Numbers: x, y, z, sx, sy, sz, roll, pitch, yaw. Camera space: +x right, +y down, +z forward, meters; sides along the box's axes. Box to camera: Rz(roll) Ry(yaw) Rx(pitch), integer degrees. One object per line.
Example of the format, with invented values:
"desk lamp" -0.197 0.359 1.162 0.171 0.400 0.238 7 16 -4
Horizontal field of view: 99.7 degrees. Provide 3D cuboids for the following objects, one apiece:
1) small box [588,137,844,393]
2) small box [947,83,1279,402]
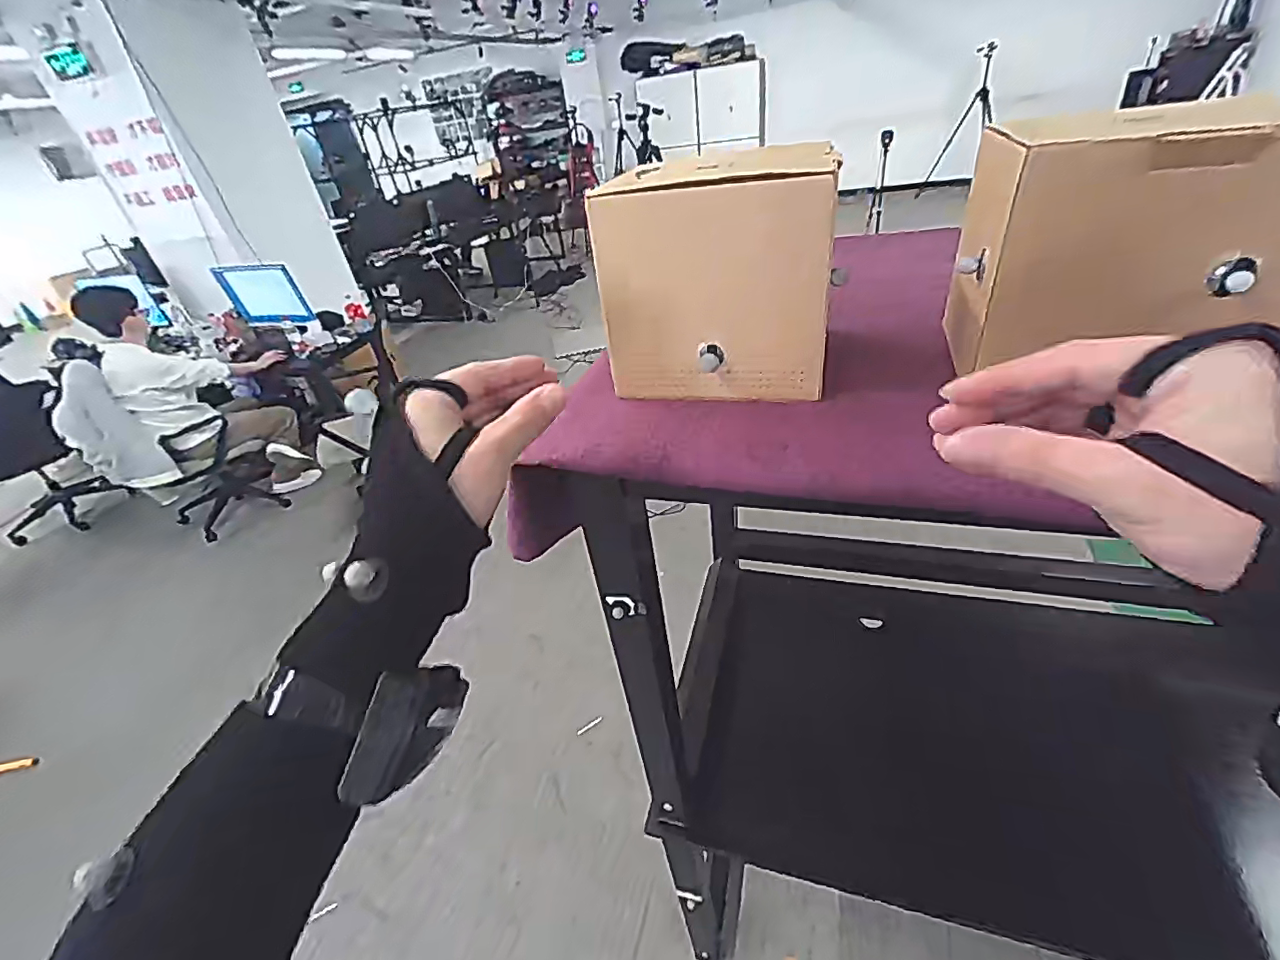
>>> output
"small box" 0.073 -0.185 0.471 0.179 0.176 0.168 4 36 16
"small box" 0.334 -0.167 0.389 0.168 0.176 0.179 6 36 20
